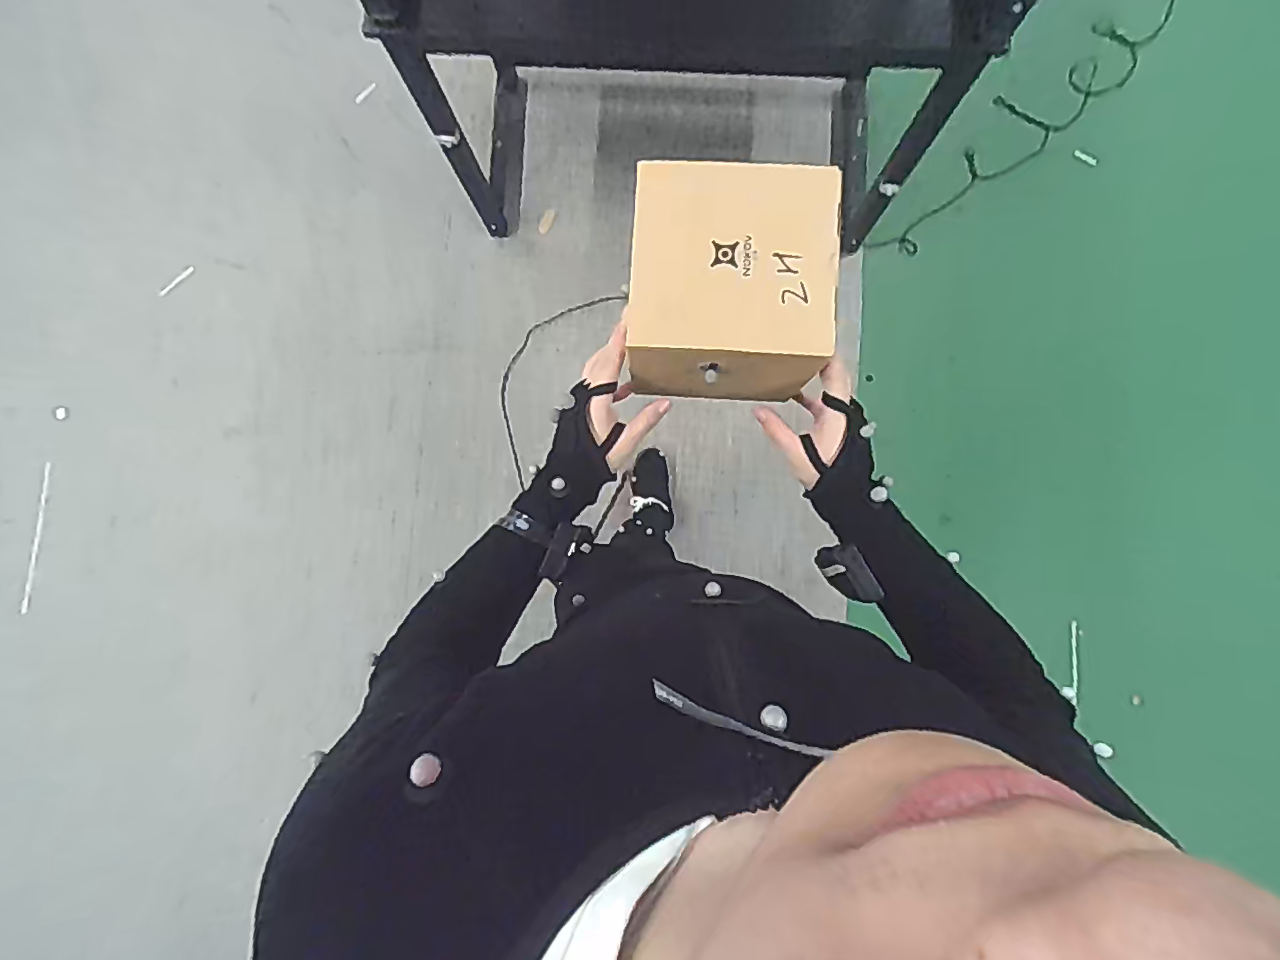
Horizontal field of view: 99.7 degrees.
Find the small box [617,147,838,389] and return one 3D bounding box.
[{"bbox_3d":[0.077,-0.190,0.528,0.179,0.176,0.168,4,87,3],"label":"small box"}]
